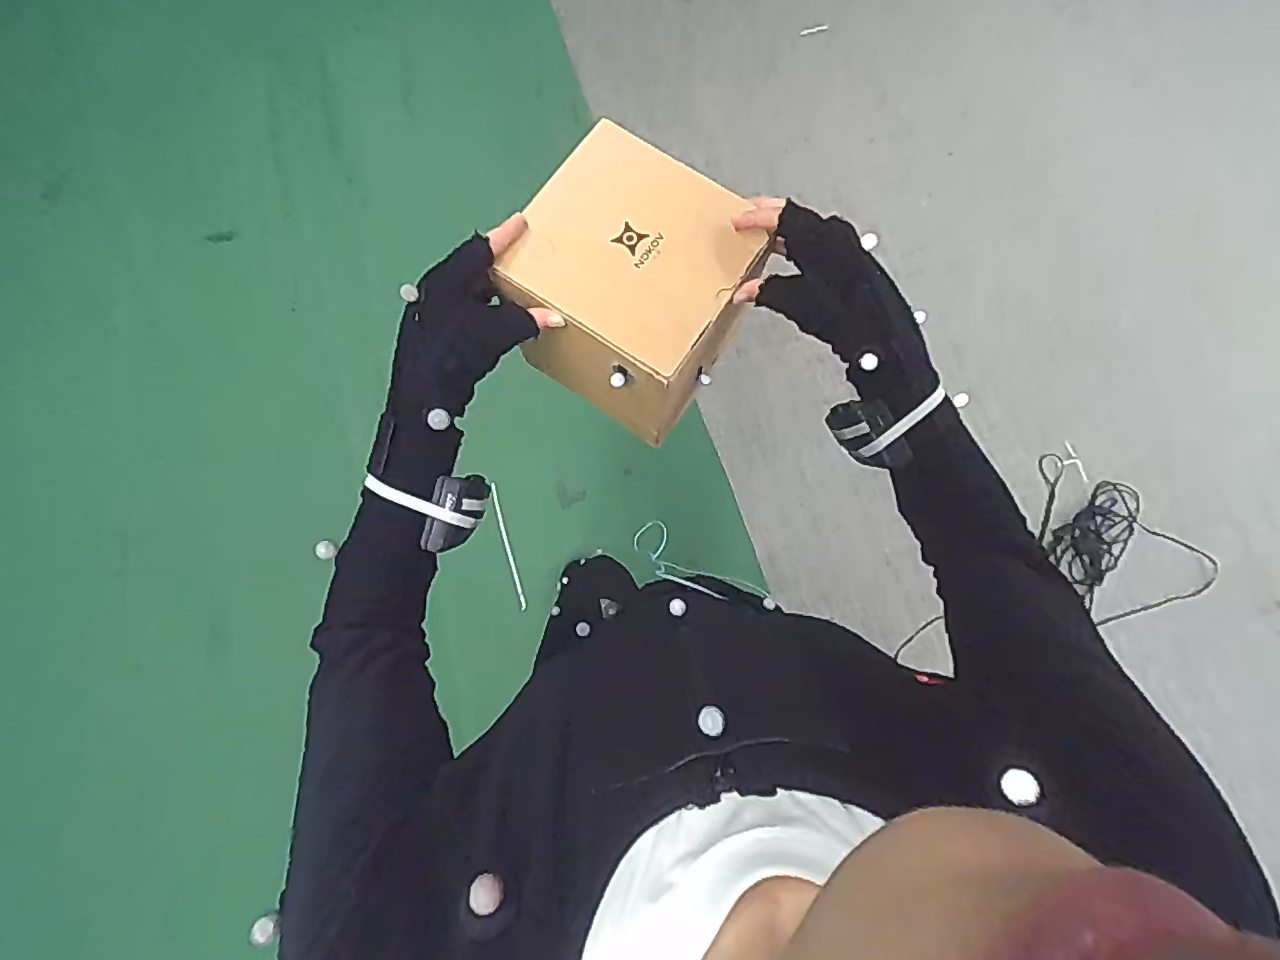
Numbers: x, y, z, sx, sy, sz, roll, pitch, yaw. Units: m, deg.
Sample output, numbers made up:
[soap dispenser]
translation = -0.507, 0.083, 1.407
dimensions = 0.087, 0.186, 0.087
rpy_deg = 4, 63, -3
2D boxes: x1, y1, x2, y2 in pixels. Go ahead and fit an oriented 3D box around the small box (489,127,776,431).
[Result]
[small box]
translation = -0.008, -0.170, 0.509
dimensions = 0.179, 0.176, 0.168
rpy_deg = 34, 77, 6
